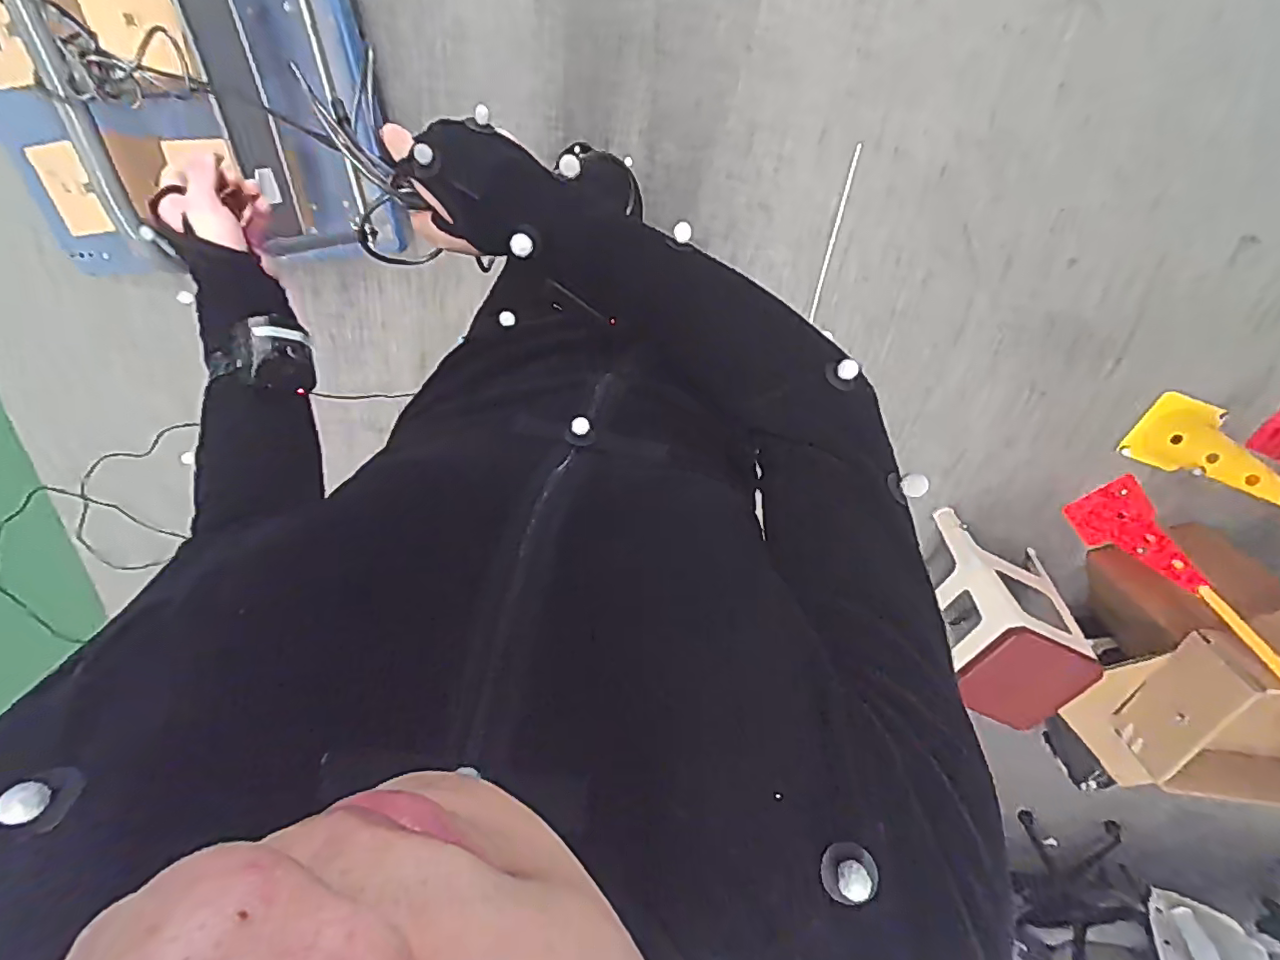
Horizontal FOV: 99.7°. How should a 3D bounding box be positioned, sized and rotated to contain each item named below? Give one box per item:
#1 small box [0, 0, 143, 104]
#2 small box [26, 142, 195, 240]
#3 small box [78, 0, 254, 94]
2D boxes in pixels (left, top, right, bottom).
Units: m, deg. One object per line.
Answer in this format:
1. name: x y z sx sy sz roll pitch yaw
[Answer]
1. small box: -1.150 -0.852 1.057 0.179 0.176 0.168 -4 119 6
2. small box: -1.132 -0.629 1.180 0.179 0.176 0.168 -5 118 7
3. small box: -0.903 -0.855 1.038 0.179 0.176 0.168 0 119 6
